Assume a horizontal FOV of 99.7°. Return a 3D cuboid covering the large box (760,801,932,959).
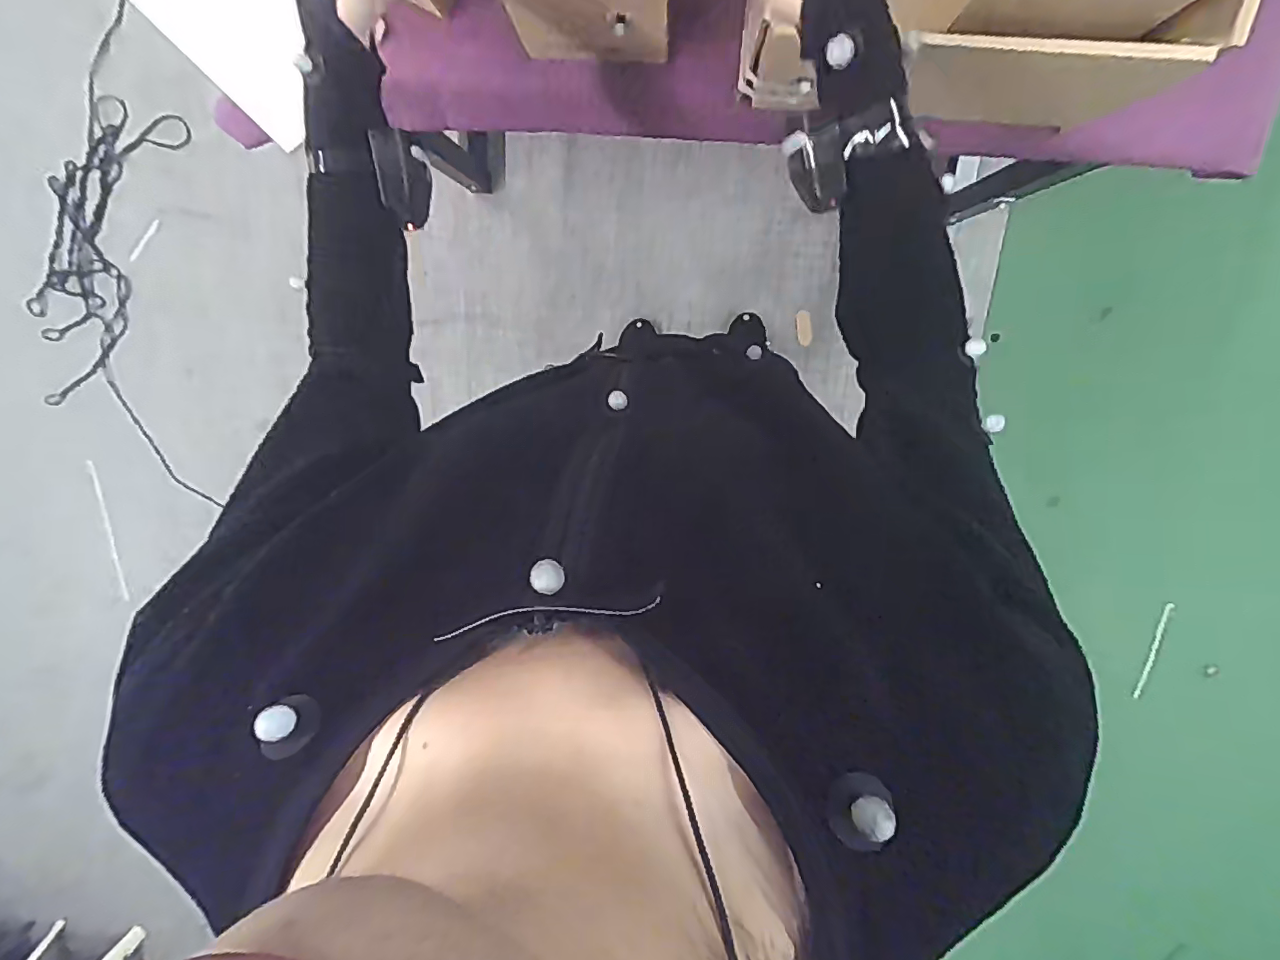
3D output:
[{"bbox_3d":[0.614,1.251,1.661,0.408,0.320,0.320,-10,105,5],"label":"large box"}]
